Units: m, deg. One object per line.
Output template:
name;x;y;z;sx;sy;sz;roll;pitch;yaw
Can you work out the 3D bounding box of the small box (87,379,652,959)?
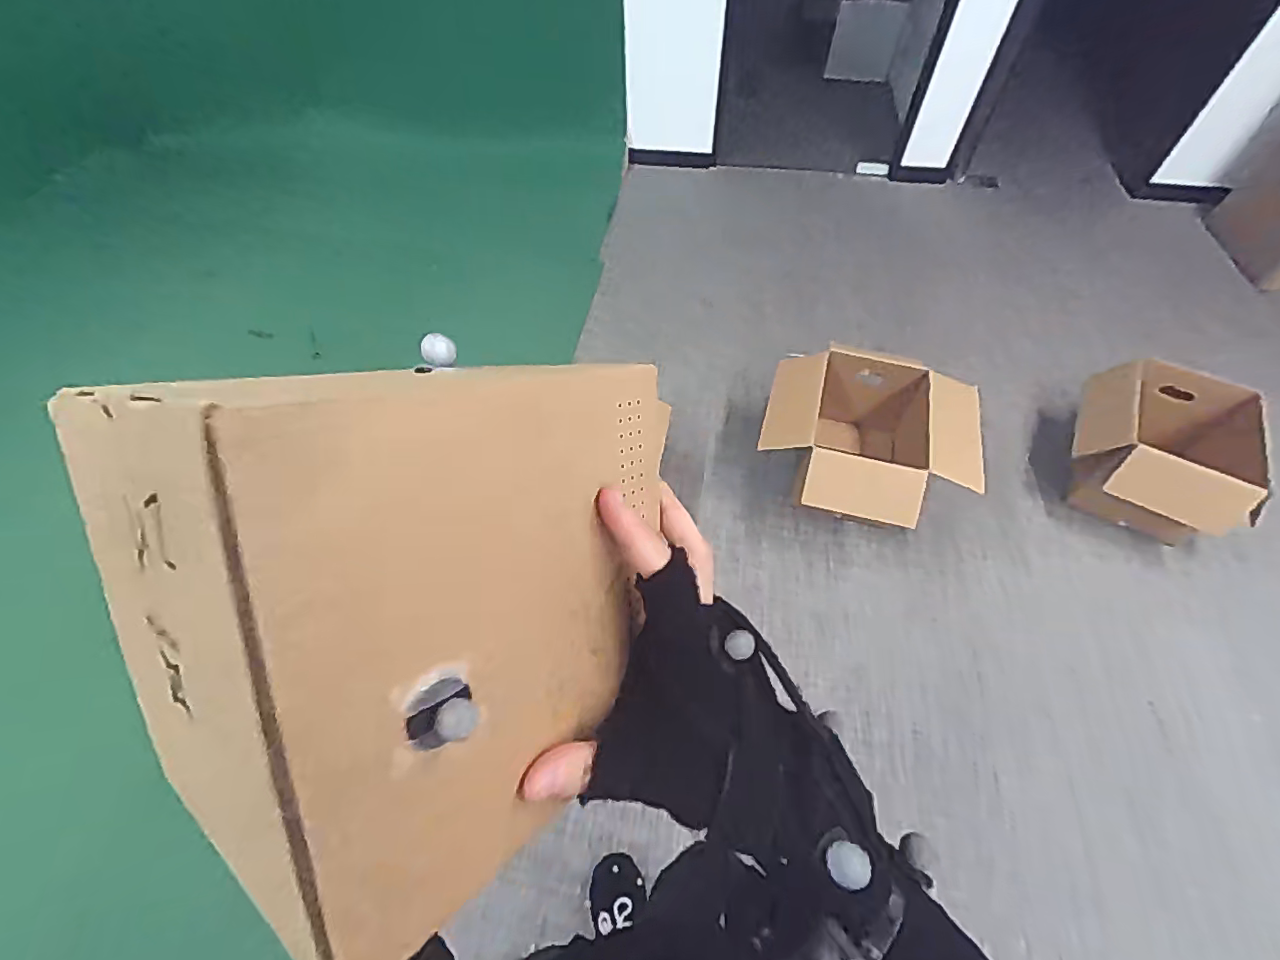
small box;-0.106;0.048;0.251;0.168;0.179;0.176;8;16;36
